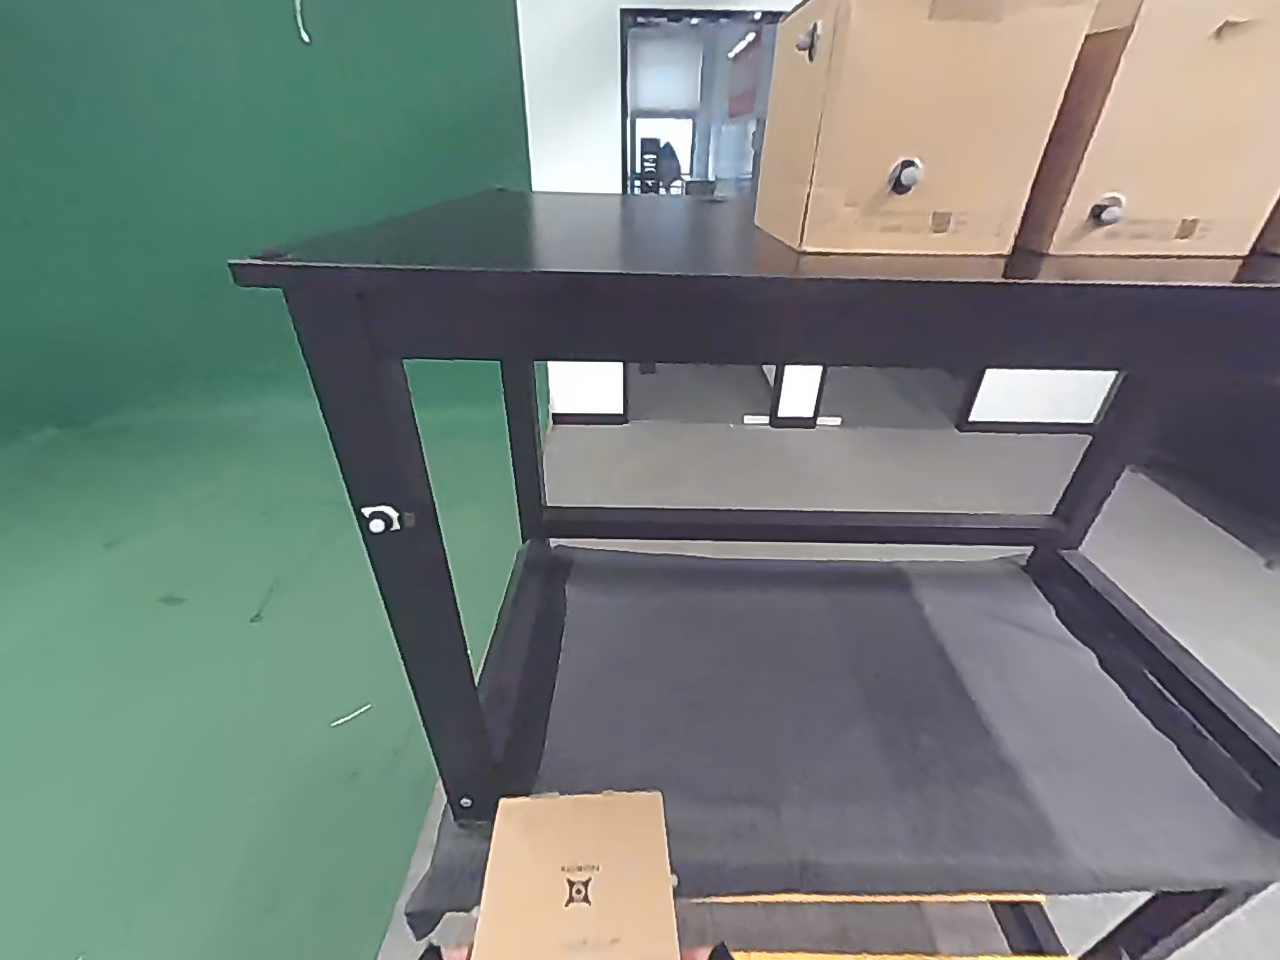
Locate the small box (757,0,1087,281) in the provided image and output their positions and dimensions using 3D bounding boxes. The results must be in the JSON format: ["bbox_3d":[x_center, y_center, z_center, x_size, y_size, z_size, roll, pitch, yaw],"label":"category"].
[{"bbox_3d":[0.204,-0.276,0.458,0.168,0.176,0.179,0,32,-2],"label":"small box"}]
